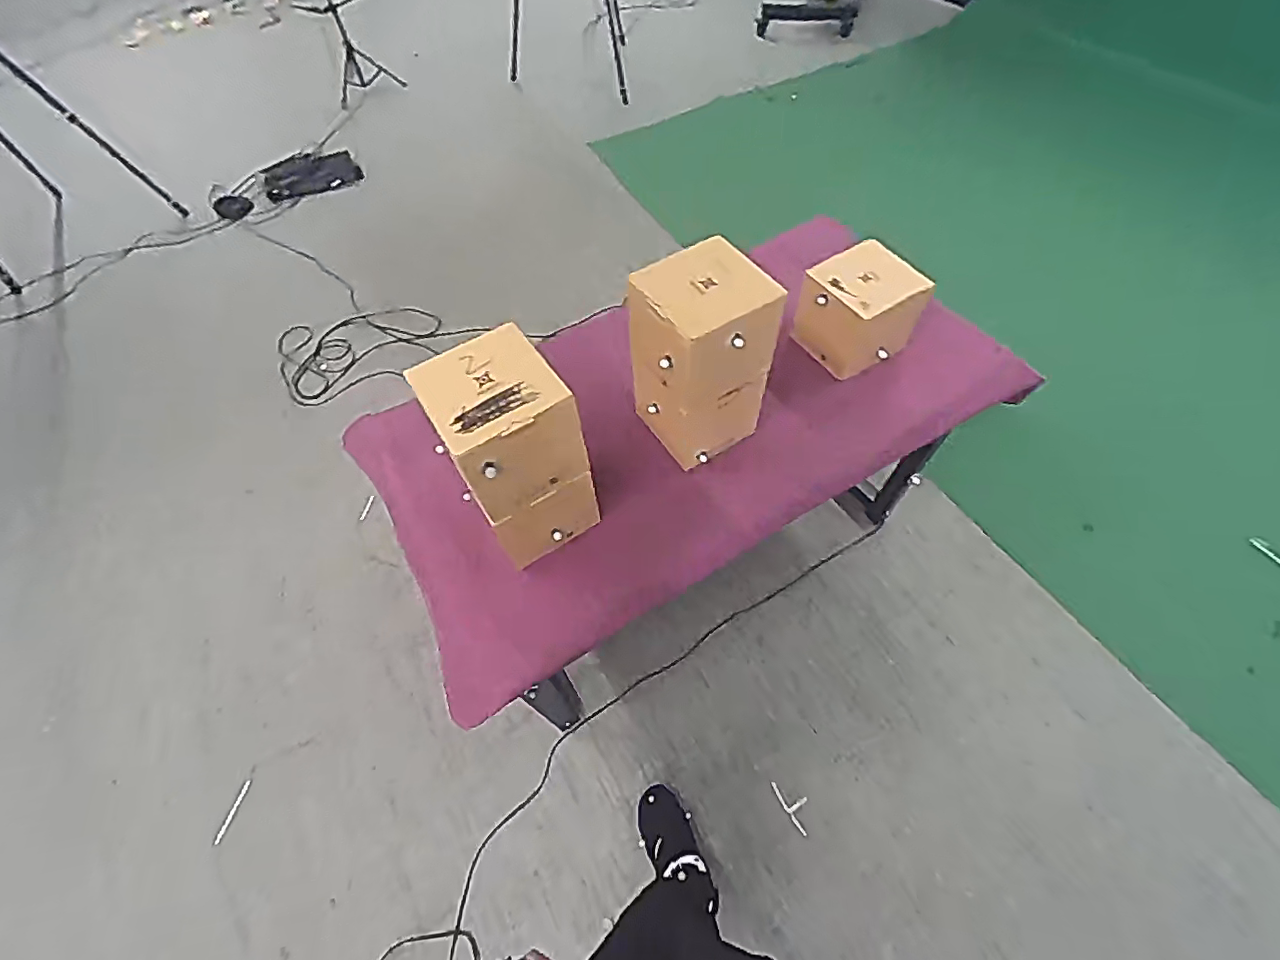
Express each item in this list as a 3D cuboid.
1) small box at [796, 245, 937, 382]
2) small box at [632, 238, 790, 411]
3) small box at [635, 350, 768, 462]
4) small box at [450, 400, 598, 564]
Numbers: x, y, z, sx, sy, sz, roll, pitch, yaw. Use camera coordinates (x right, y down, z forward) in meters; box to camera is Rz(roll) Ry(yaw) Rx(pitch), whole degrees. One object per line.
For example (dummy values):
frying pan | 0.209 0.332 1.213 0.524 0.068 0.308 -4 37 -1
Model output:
small box | 0.442 -0.331 1.088 0.179 0.176 0.168 -27 61 -15
small box | 0.104 -0.239 0.850 0.179 0.176 0.168 -28 62 -16
small box | 0.107 -0.155 0.989 0.168 0.176 0.179 -29 61 -15
small box | -0.185 0.007 0.896 0.168 0.176 0.179 -30 62 -15
